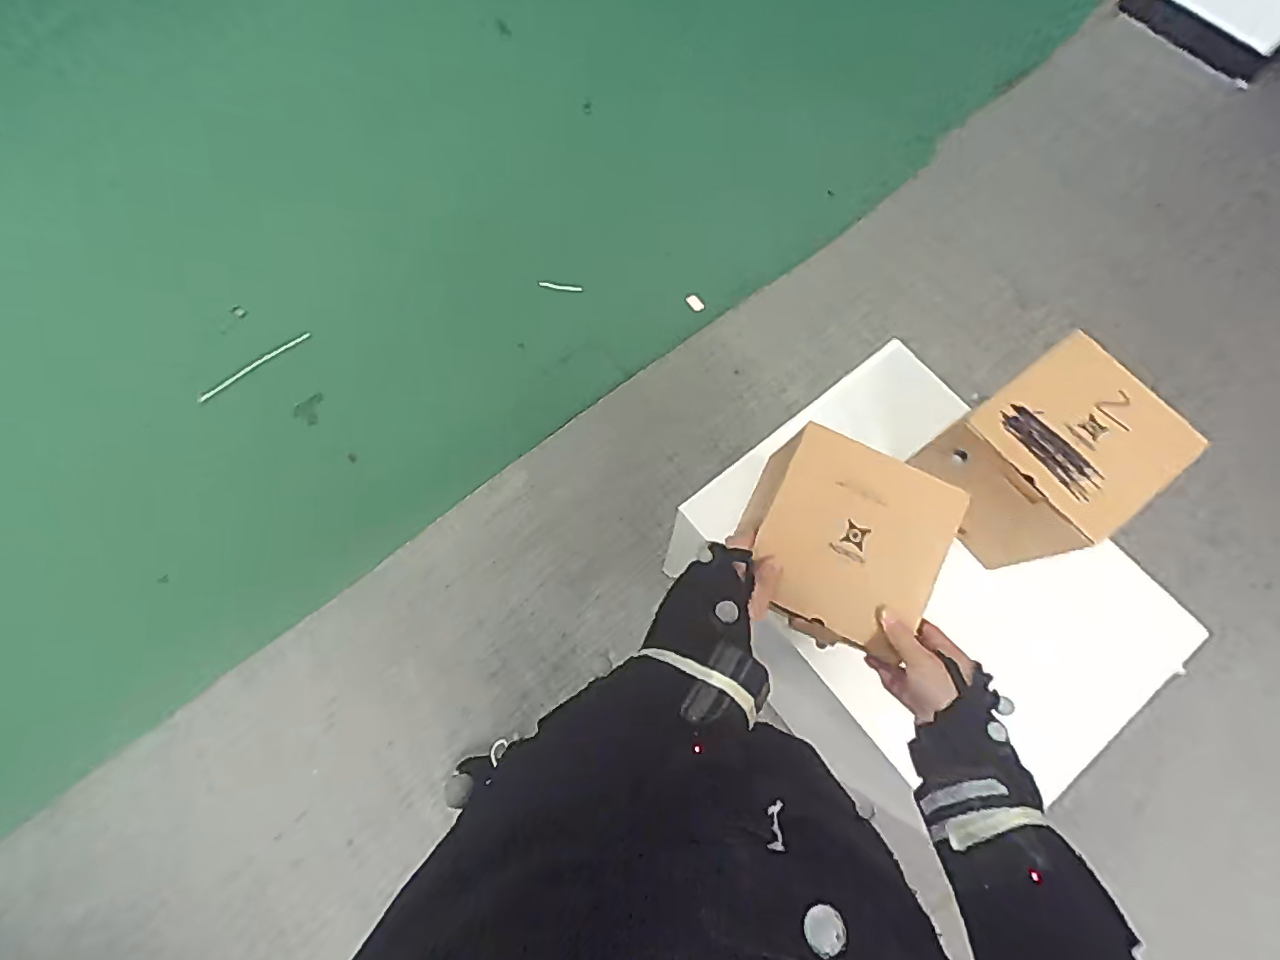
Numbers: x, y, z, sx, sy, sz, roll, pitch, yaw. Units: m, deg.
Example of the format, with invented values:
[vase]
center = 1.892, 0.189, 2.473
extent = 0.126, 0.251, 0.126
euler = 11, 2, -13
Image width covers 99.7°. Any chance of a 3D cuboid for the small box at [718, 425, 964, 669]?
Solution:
[small box]
center = 0.192, 0.071, 0.572
extent = 0.168, 0.176, 0.179
euler = 25, 80, 4
